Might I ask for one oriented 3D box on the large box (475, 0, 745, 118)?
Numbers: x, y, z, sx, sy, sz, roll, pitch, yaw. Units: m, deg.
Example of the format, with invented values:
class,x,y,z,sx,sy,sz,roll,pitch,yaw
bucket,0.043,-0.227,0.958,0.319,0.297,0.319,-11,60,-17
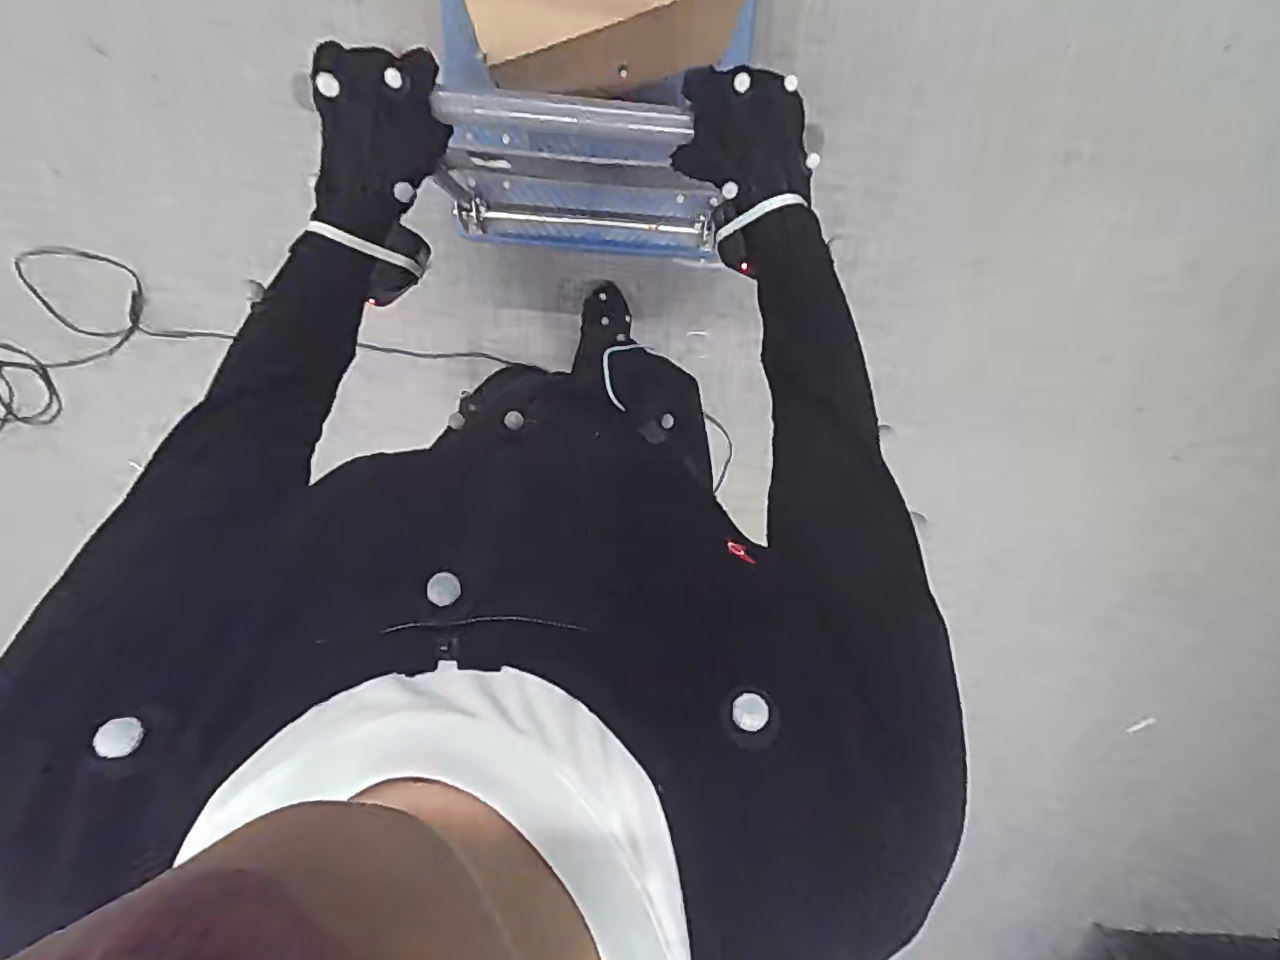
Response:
class,x,y,z,sx,sy,sz,roll,pitch,yaw
large box,-0.065,-0.848,0.858,0.408,0.320,0.320,-16,108,5
